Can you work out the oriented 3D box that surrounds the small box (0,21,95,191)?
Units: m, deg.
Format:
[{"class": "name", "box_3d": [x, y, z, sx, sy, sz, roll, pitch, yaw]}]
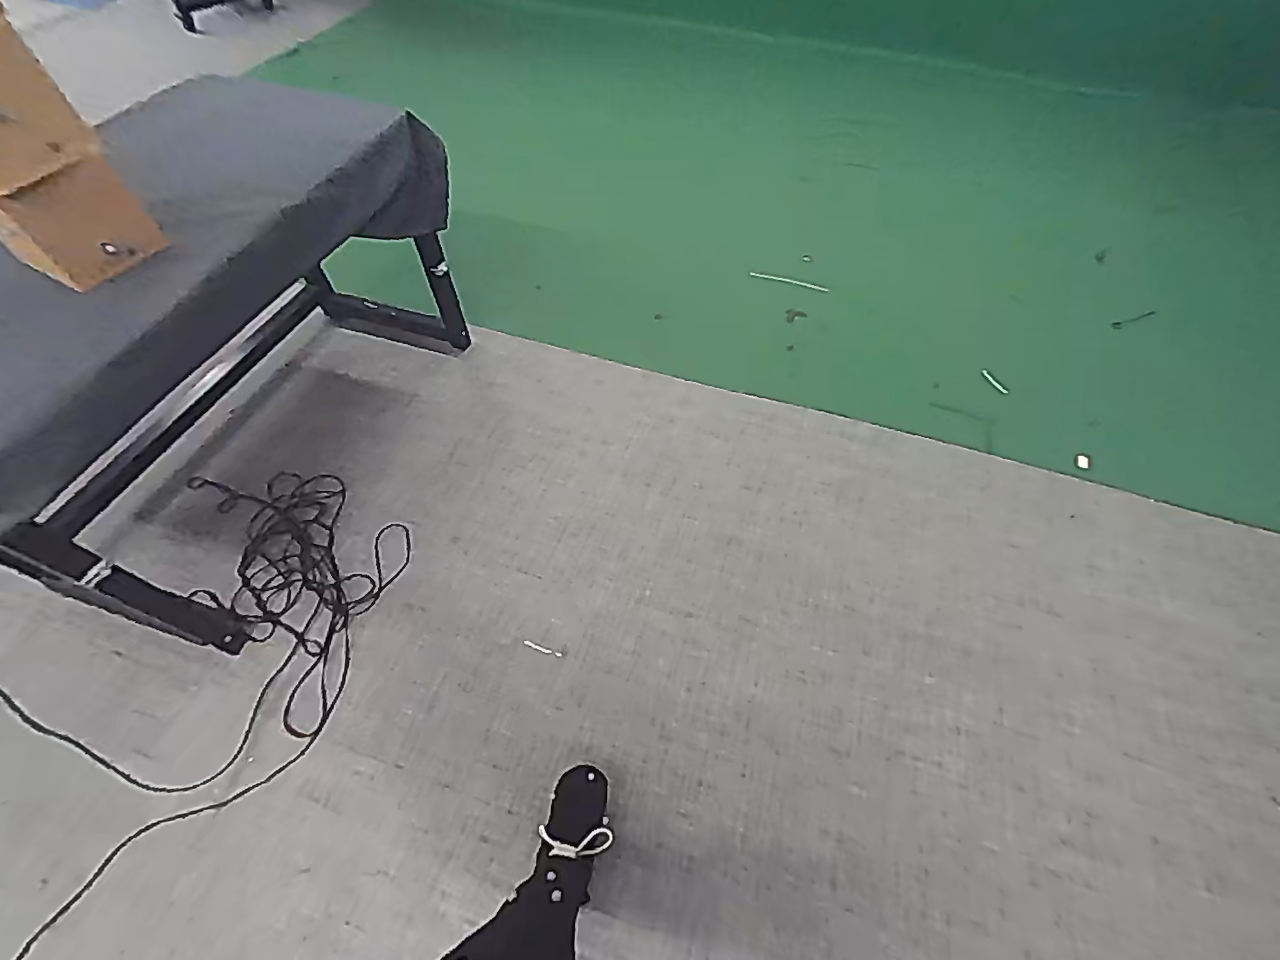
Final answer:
[{"class": "small box", "box_3d": [-0.967, -0.539, 0.773, 0.179, 0.176, 0.168, 18, 58, 10]}]
